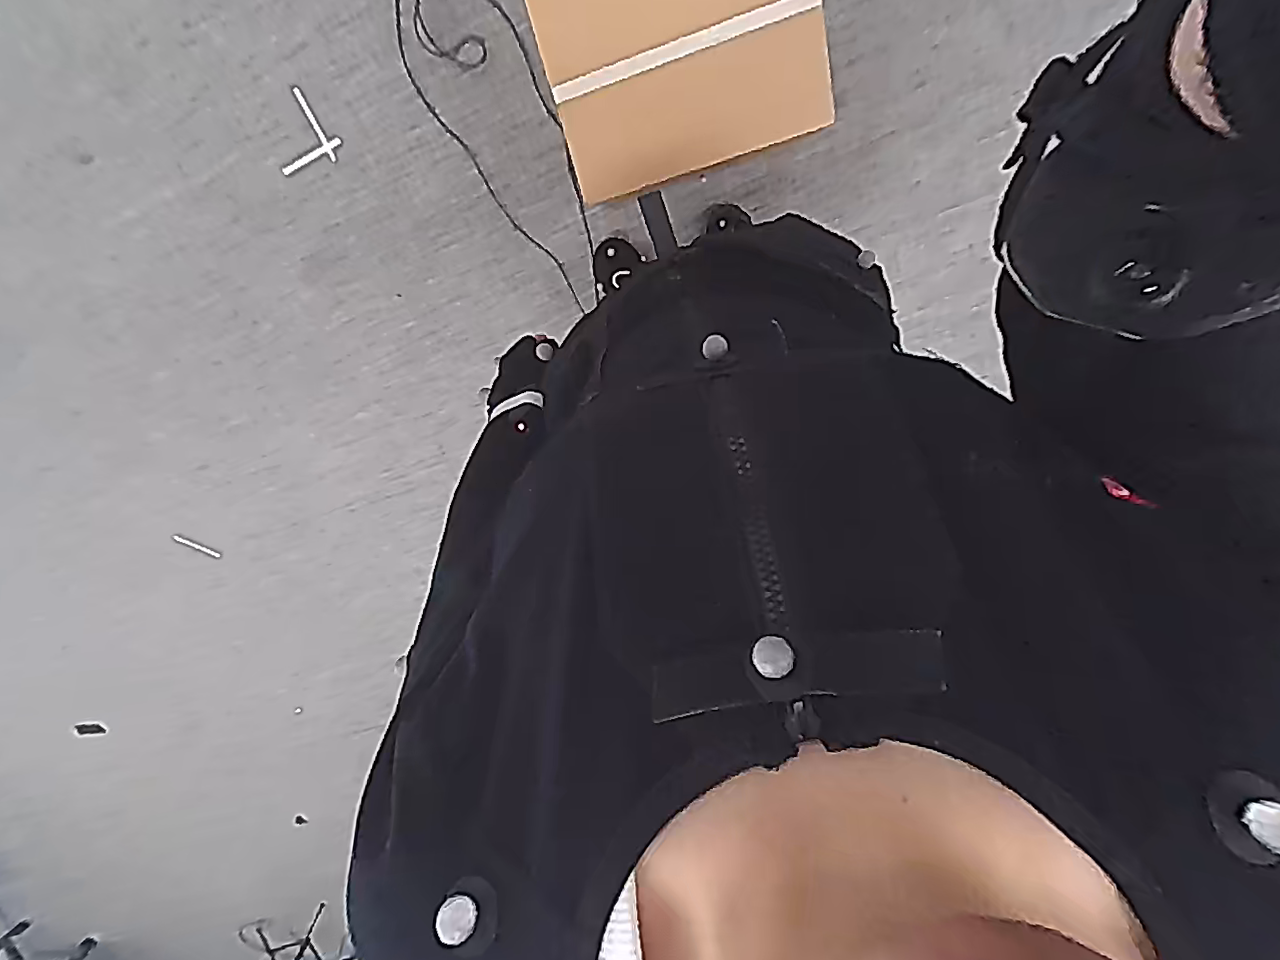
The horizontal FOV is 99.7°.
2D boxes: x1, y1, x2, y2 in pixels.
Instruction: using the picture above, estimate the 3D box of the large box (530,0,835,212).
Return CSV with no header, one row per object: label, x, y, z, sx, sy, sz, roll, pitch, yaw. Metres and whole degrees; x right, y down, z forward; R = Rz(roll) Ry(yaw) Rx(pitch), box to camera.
large box,0.076,-0.688,0.934,0.408,0.320,0.320,-13,115,9
